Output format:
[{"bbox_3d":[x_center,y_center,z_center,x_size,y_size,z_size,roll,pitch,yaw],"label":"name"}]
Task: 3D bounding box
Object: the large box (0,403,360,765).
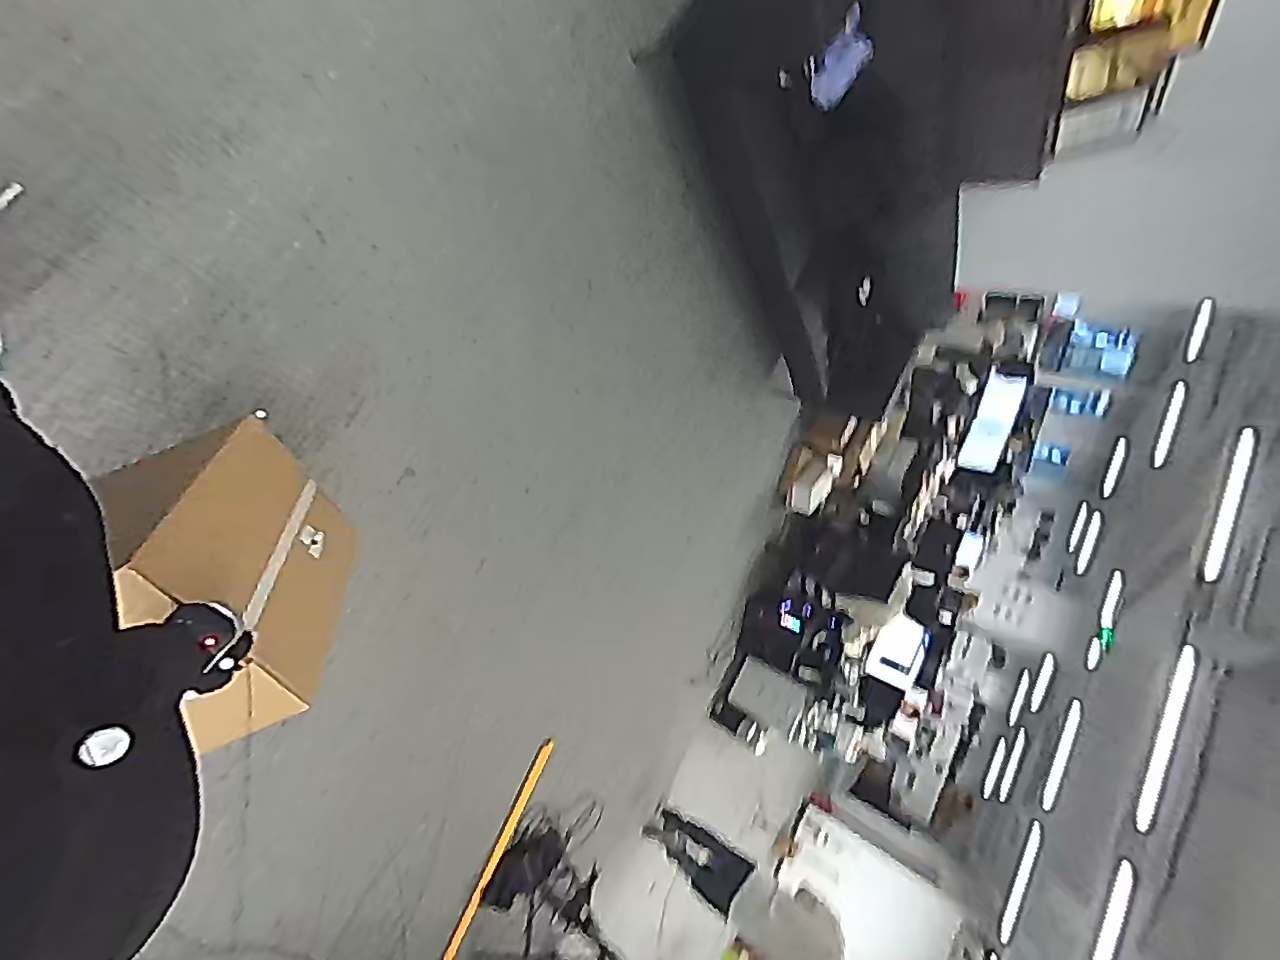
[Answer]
[{"bbox_3d":[-0.708,0.146,0.858,0.320,0.408,0.320,-24,126,-1],"label":"large box"}]
